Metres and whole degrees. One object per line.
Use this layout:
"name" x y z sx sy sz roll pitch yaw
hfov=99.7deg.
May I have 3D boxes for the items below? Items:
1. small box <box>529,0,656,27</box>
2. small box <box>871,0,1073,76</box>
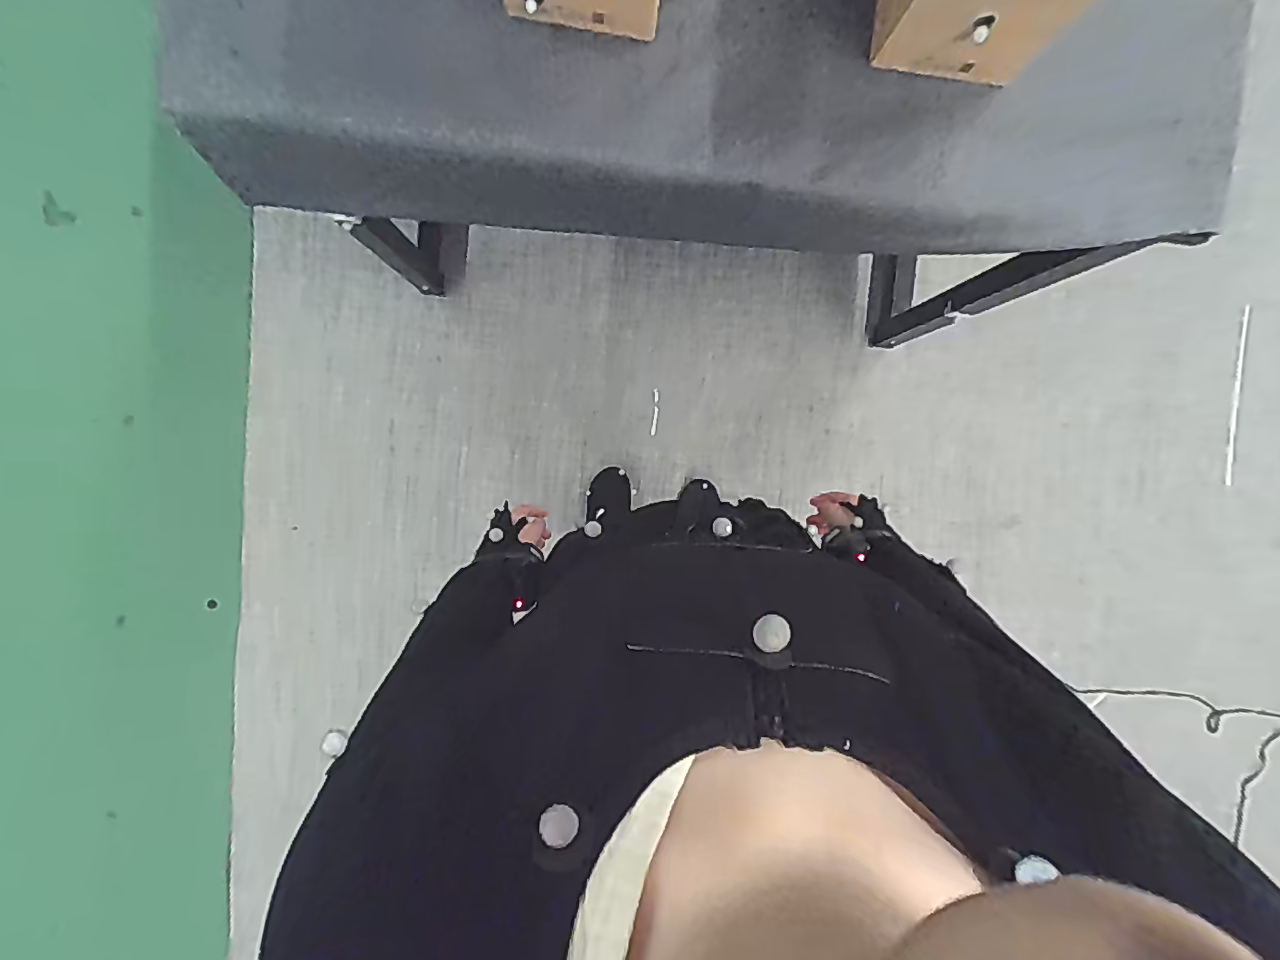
"small box" -0.052 -0.592 0.518 0.168 0.176 0.179 8 91 -3
"small box" 0.352 -0.551 0.538 0.168 0.176 0.179 6 93 -3
